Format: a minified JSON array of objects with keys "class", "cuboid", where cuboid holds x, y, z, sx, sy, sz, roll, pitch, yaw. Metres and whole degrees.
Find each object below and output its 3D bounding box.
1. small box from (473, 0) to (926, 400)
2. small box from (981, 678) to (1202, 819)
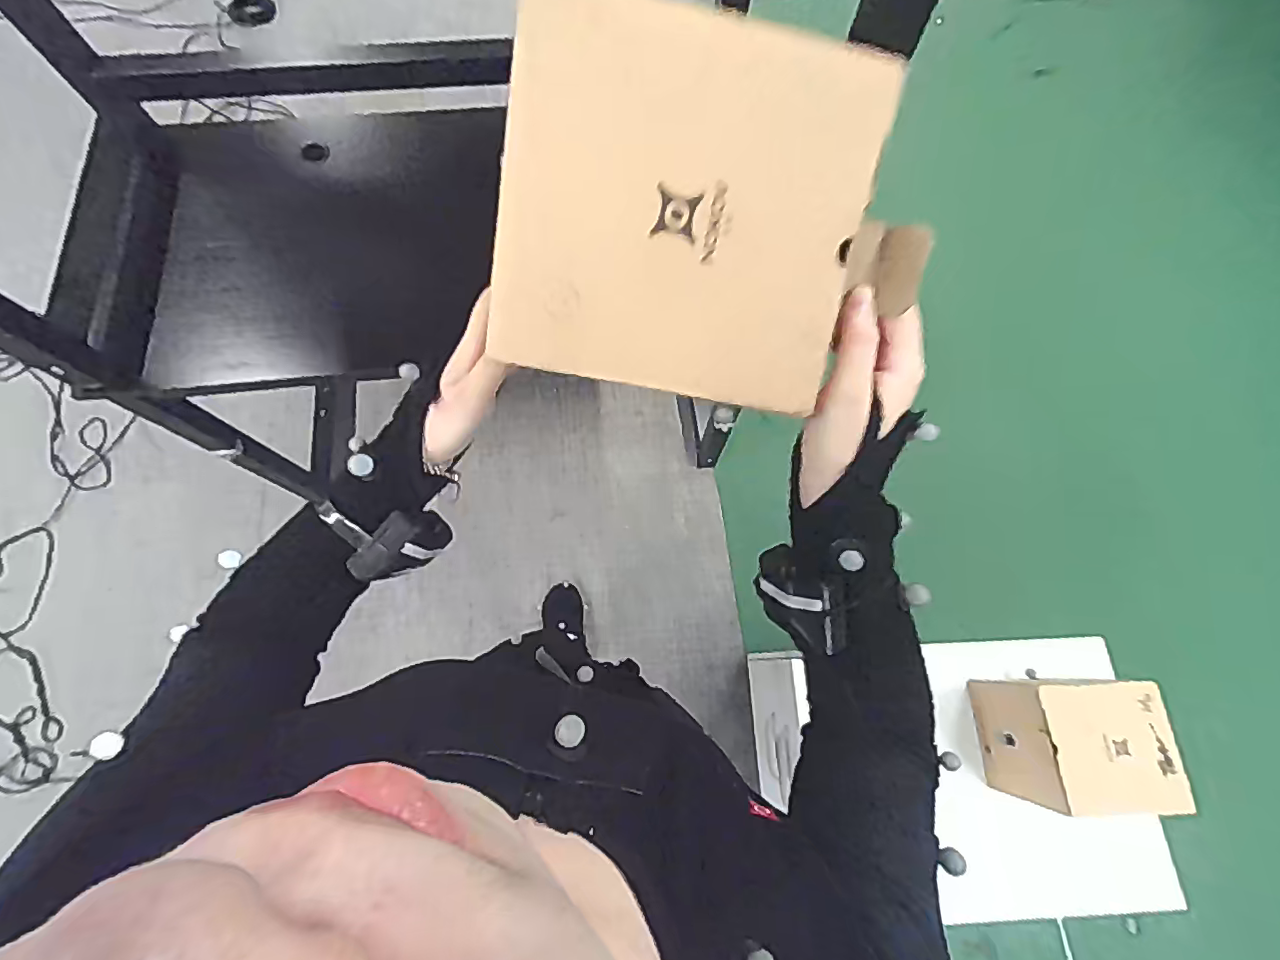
[{"class":"small box","cuboid":[0.016,-0.152,0.315,0.179,0.176,0.168,9,107,-8]},{"class":"small box","cuboid":[0.641,0.386,0.800,0.179,0.176,0.168,-1,72,-1]}]
